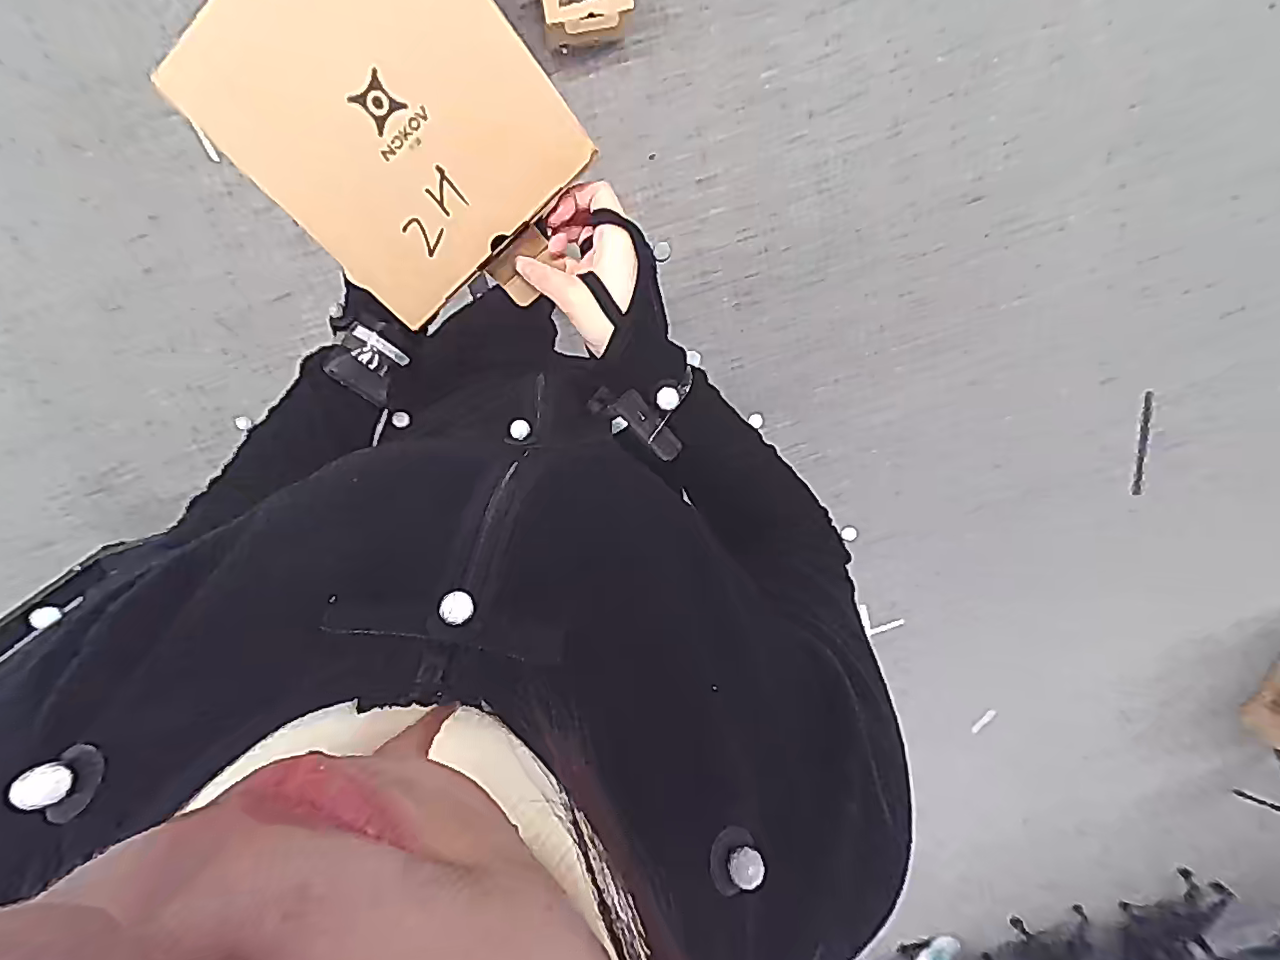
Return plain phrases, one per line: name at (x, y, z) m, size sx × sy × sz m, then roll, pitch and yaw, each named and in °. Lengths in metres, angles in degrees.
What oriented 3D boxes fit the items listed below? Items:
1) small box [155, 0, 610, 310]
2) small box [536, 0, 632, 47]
small box at (-0.140, -0.245, 0.363) m, size 0.168 × 0.176 × 0.179 m, roll -36°, pitch 116°, yaw 12°
small box at (-0.115, -0.946, 1.015) m, size 0.168 × 0.176 × 0.179 m, roll -13°, pitch 115°, yaw -3°
